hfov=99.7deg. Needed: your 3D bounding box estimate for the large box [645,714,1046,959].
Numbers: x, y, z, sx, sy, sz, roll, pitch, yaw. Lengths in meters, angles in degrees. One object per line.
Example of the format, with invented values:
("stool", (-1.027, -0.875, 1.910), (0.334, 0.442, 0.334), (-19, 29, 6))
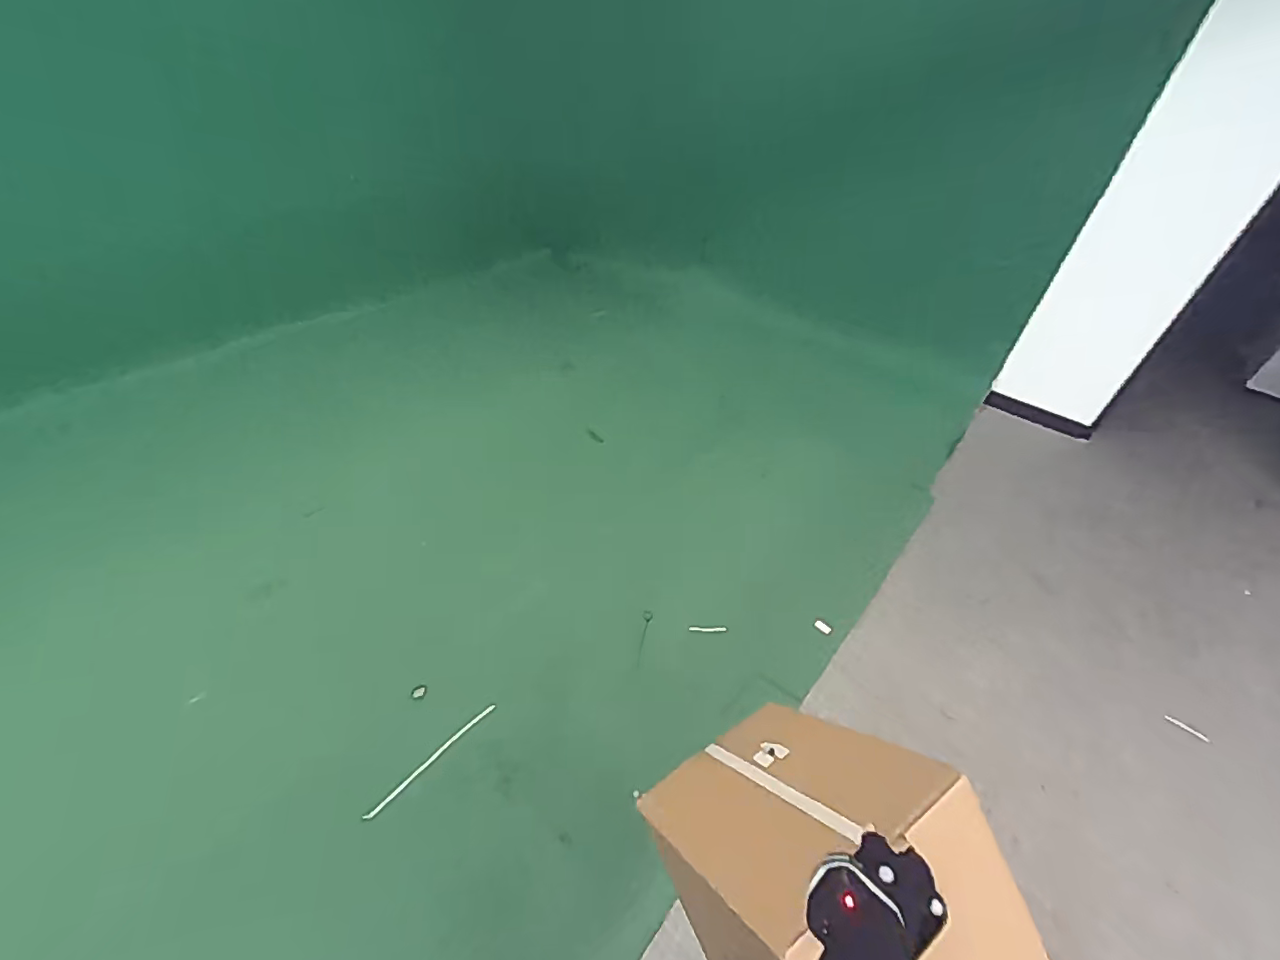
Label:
("large box", (0.267, 0.597, 0.781), (0.320, 0.408, 0.320), (-22, 88, -23))
